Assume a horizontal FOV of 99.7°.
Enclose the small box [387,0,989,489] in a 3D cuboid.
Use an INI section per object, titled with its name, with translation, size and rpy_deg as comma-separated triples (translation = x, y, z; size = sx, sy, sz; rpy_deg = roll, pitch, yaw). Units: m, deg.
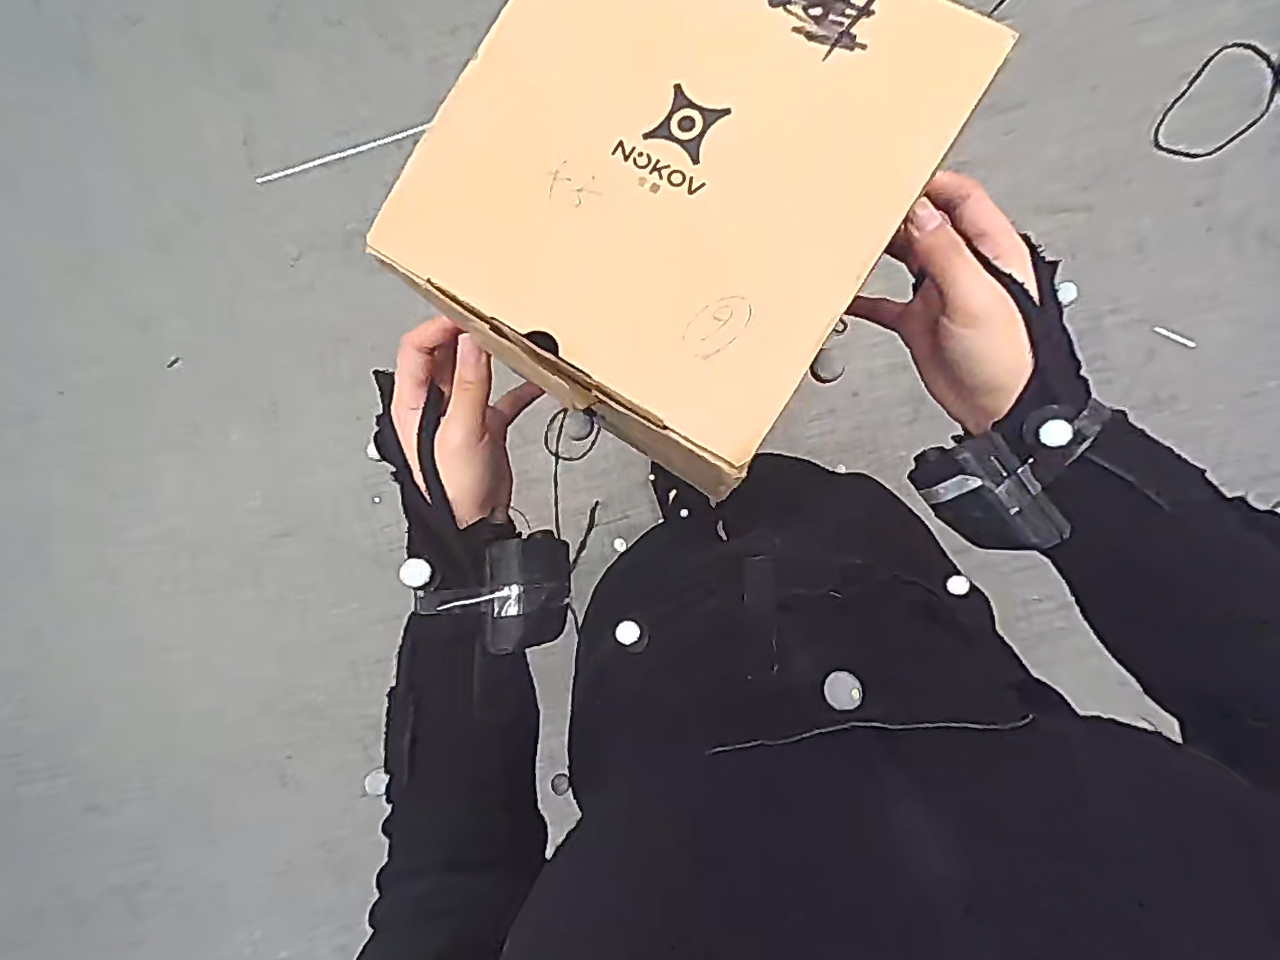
[small box]
translation = 0.022, -0.108, 0.280
size = 0.168, 0.176, 0.179
rpy_deg = 33, 90, 8
